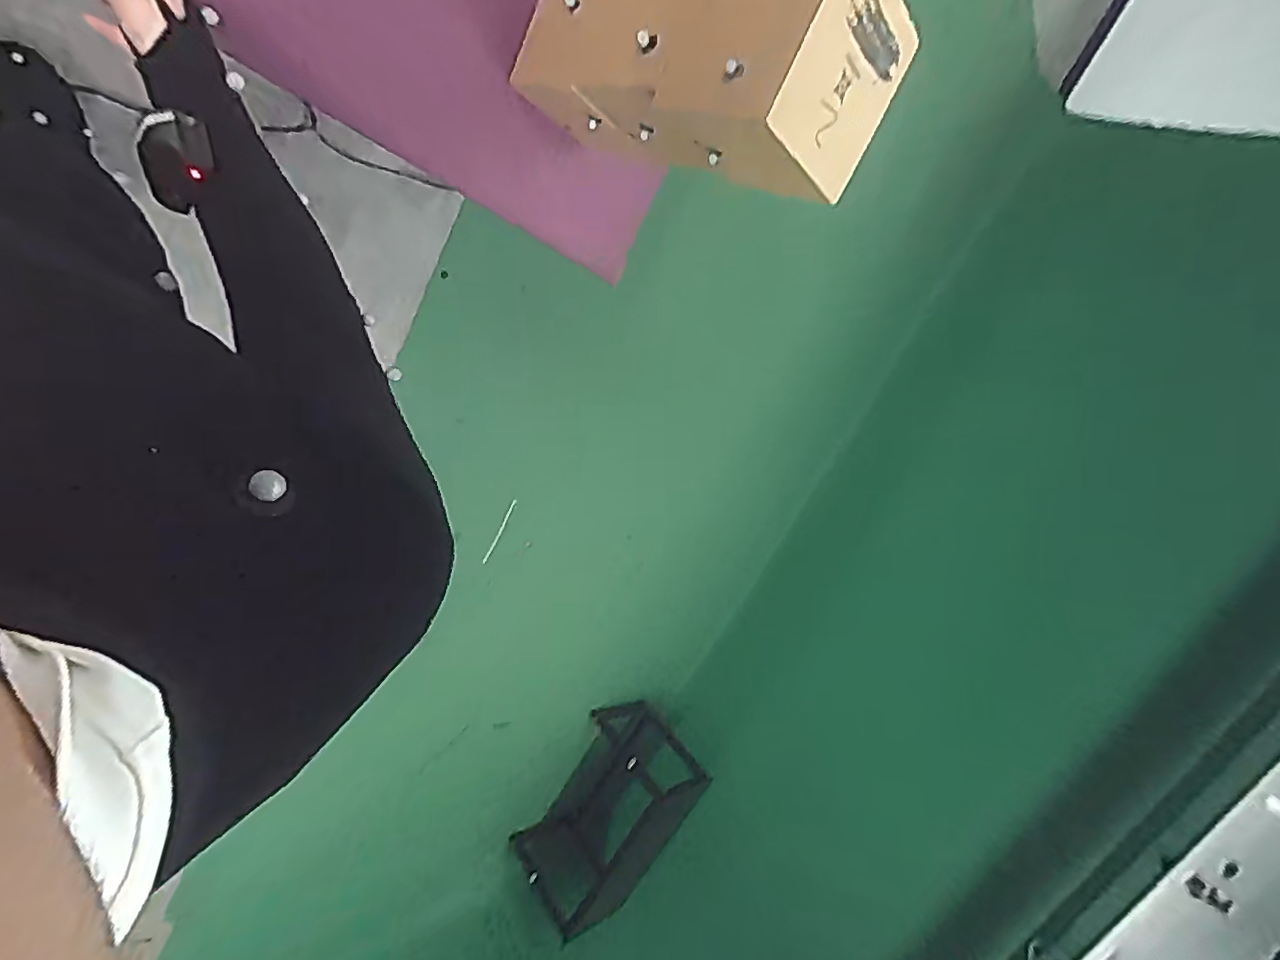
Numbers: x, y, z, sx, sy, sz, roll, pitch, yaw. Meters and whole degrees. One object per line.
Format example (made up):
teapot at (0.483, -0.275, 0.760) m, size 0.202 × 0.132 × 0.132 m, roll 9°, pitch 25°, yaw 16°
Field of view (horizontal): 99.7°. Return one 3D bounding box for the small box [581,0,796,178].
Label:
small box at (0.052, -0.515, 0.671) m, size 0.168 × 0.176 × 0.179 m, roll 13°, pitch 109°, yaw -50°

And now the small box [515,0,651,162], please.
small box at (-0.052, -0.594, 0.773) m, size 0.168 × 0.176 × 0.179 m, roll 11°, pitch 110°, yaw -48°
